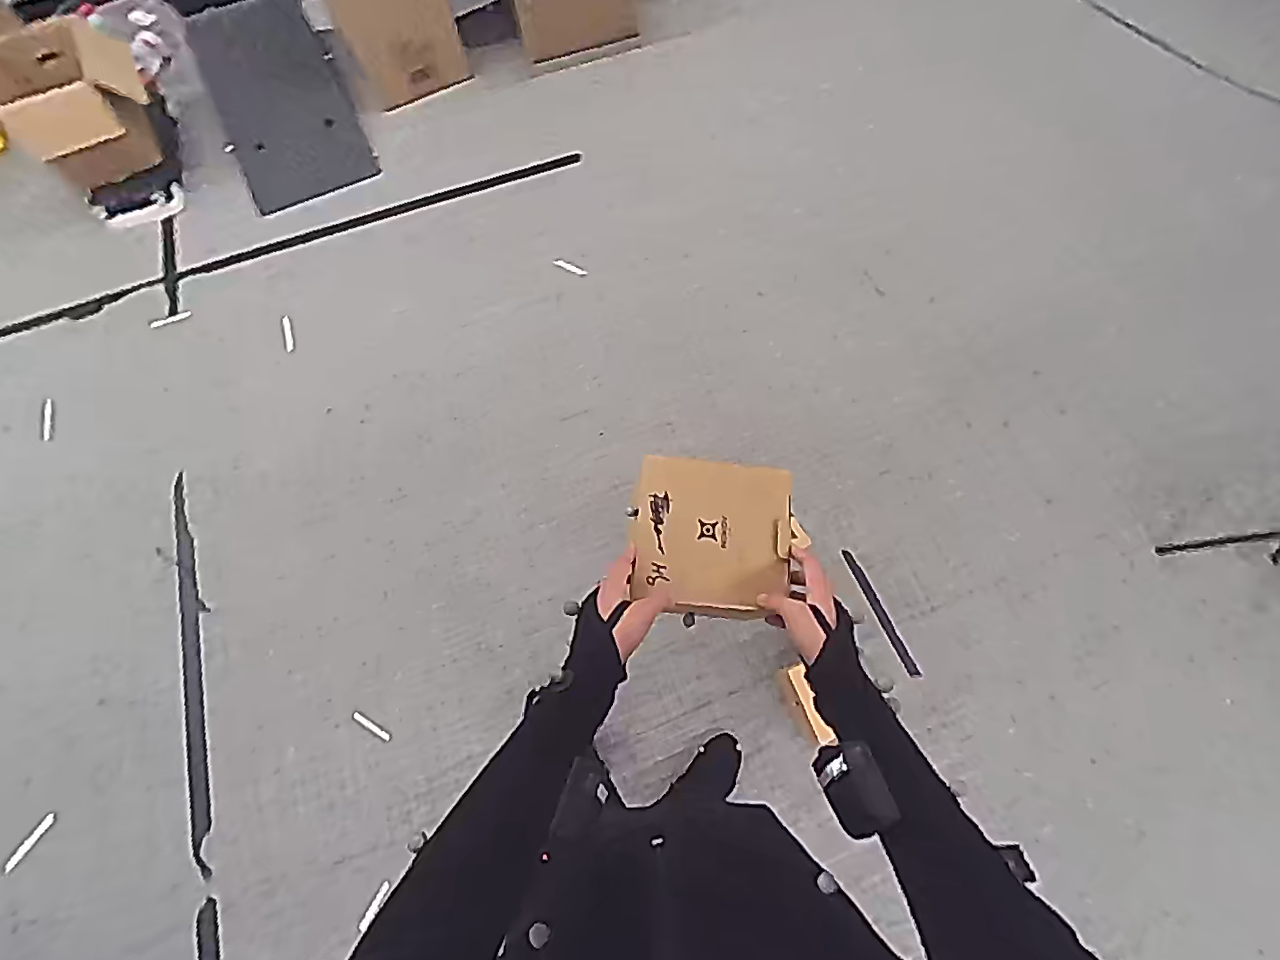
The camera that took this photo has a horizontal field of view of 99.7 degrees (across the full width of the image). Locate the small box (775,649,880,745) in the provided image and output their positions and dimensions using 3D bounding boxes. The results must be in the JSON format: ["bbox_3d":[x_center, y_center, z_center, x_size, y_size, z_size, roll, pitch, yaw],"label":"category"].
[{"bbox_3d":[0.457,0.539,1.350,0.168,0.176,0.179,-19,70,-5],"label":"small box"}]

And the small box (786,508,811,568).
[{"bbox_3d":[0.287,0.153,1.333,0.179,0.176,0.168,-24,69,-7],"label":"small box"}]

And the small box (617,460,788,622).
[{"bbox_3d":[0.071,0.086,0.679,0.179,0.176,0.168,7,72,-5],"label":"small box"}]
